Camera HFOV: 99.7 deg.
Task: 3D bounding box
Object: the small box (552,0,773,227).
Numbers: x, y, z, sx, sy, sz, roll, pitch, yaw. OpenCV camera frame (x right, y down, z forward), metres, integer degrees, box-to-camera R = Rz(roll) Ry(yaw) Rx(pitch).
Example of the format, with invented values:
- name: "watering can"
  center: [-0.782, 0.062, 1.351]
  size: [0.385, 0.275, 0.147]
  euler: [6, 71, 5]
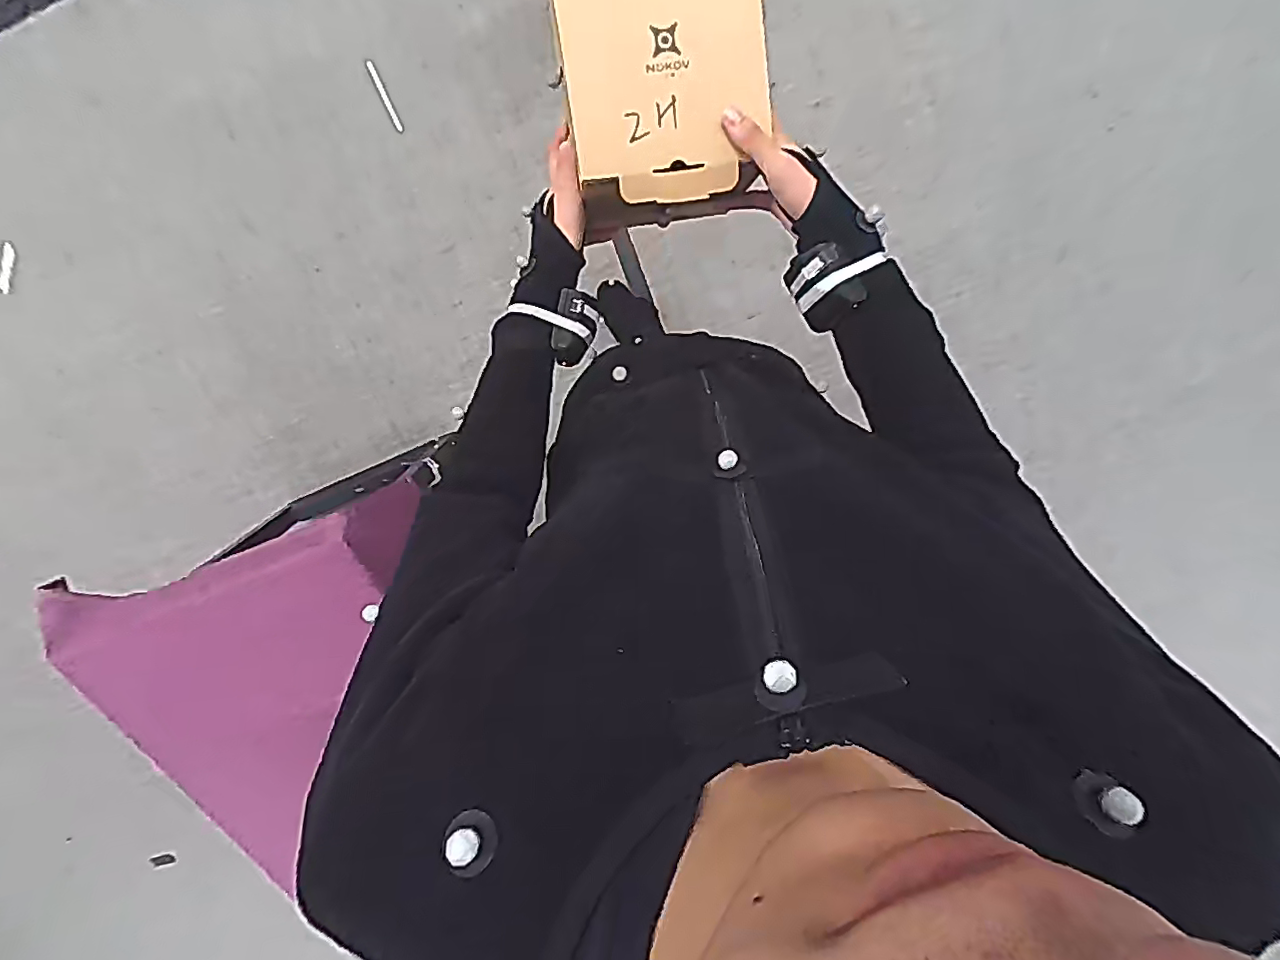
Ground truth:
- name: "small box"
  center: [0.012, -0.358, 0.503]
  size: [0.168, 0.176, 0.179]
  euler: [-9, 102, -3]
